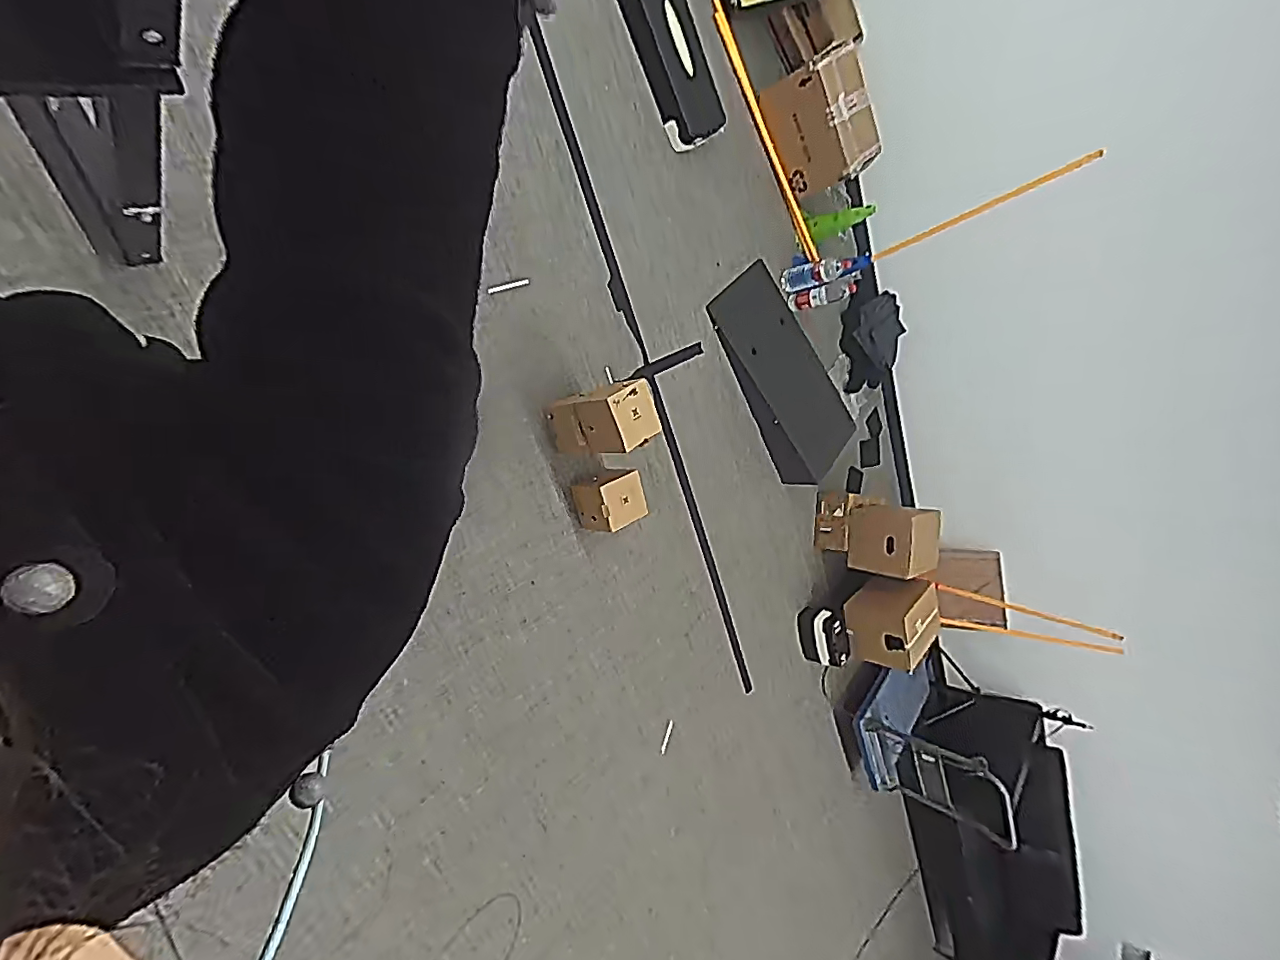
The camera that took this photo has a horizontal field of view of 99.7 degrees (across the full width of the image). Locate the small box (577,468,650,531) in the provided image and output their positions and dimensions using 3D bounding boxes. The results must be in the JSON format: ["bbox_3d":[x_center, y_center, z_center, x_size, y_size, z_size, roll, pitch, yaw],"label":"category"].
[{"bbox_3d":[-0.098,0.065,1.858,0.179,0.176,0.168,-27,110,-39],"label":"small box"}]

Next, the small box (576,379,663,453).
[{"bbox_3d":[-0.064,-0.196,1.655,0.168,0.176,0.179,-36,115,-36],"label":"small box"}]

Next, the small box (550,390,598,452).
[{"bbox_3d":[-0.176,-0.194,1.776,0.179,0.176,0.168,-31,112,-38],"label":"small box"}]
